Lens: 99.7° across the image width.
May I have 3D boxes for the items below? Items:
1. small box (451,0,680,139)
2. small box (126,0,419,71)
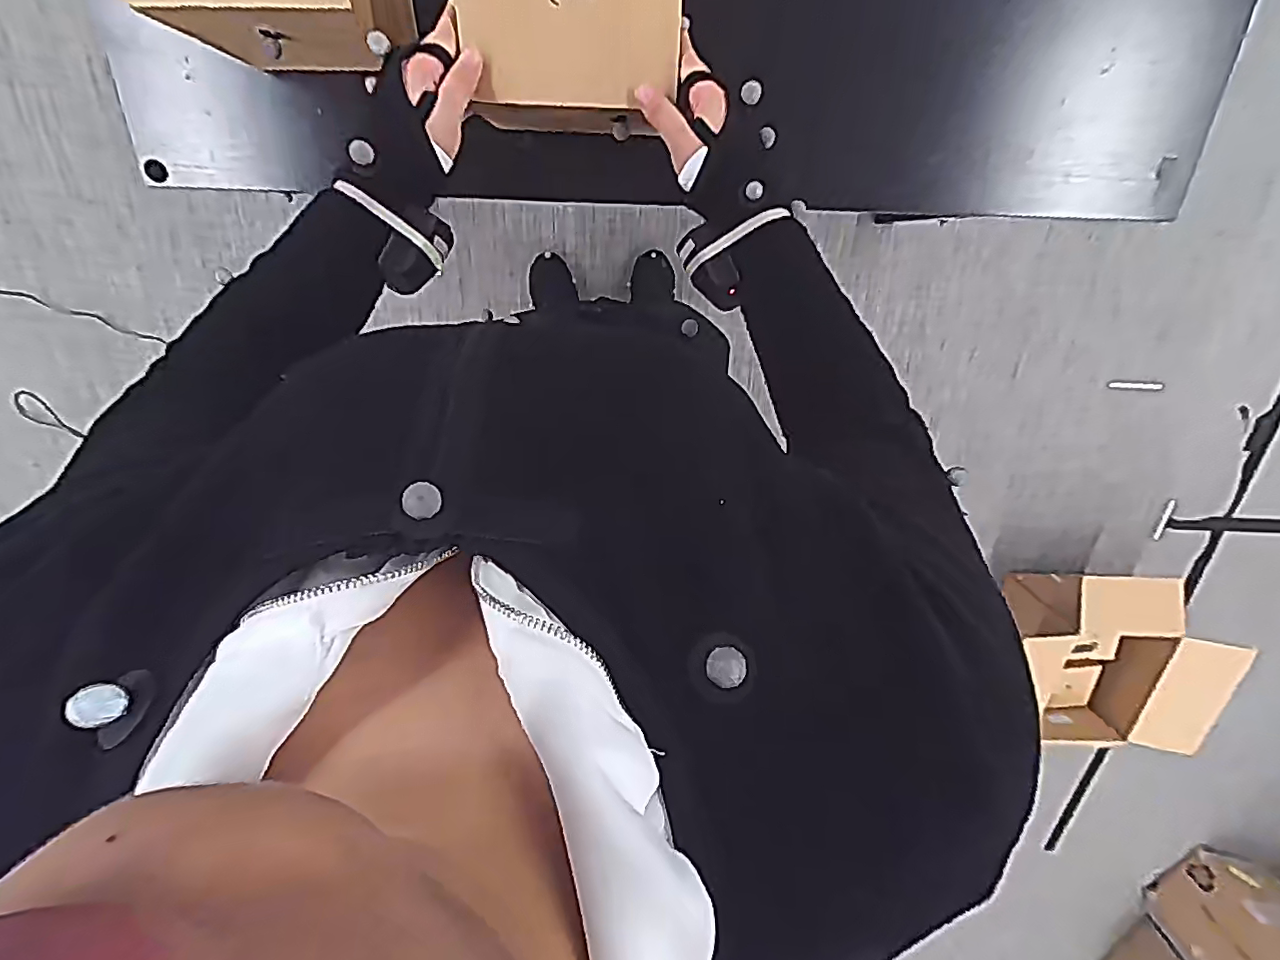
[{"bbox_3d":[-0.059,-0.408,0.476,0.179,0.176,0.168,1,116,-3],"label":"small box"},{"bbox_3d":[-0.318,-0.477,0.469,0.179,0.176,0.168,-1,113,-1],"label":"small box"}]
